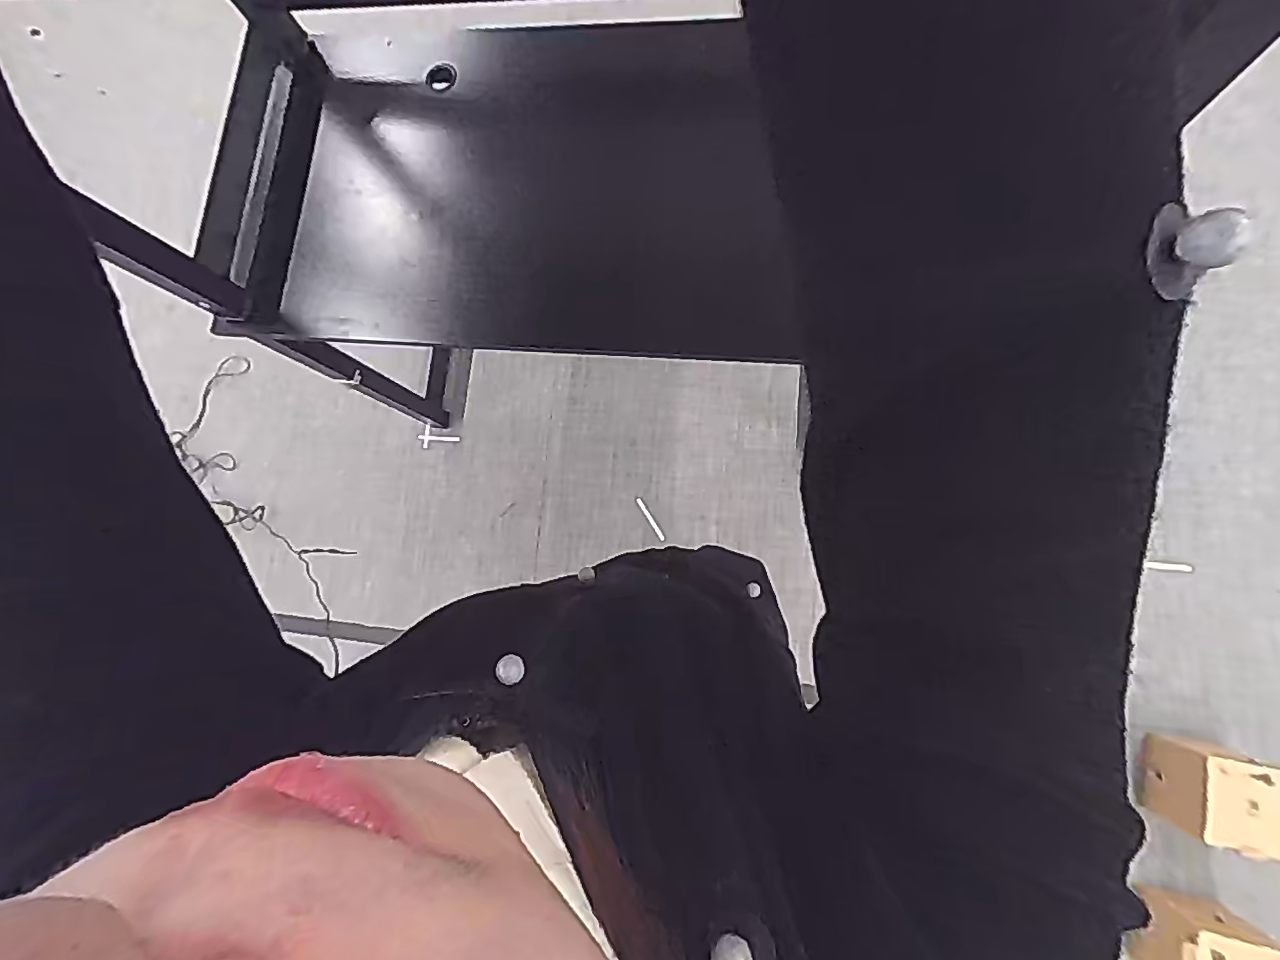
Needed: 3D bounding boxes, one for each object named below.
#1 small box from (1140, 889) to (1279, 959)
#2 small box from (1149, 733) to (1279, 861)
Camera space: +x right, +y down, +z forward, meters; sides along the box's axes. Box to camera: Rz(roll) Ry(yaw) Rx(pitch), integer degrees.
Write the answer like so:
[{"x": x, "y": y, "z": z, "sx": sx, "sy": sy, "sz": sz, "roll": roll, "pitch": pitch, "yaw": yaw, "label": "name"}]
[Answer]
[{"x": 1.204, "y": 1.004, "z": 1.132, "sx": 0.179, "sy": 0.176, "sz": 0.168, "roll": 10, "pitch": 83, "yaw": 9, "label": "small box"}, {"x": 1.262, "y": 0.680, "z": 1.174, "sx": 0.168, "sy": 0.176, "sz": 0.179, "roll": 9, "pitch": 83, "yaw": 9, "label": "small box"}]
